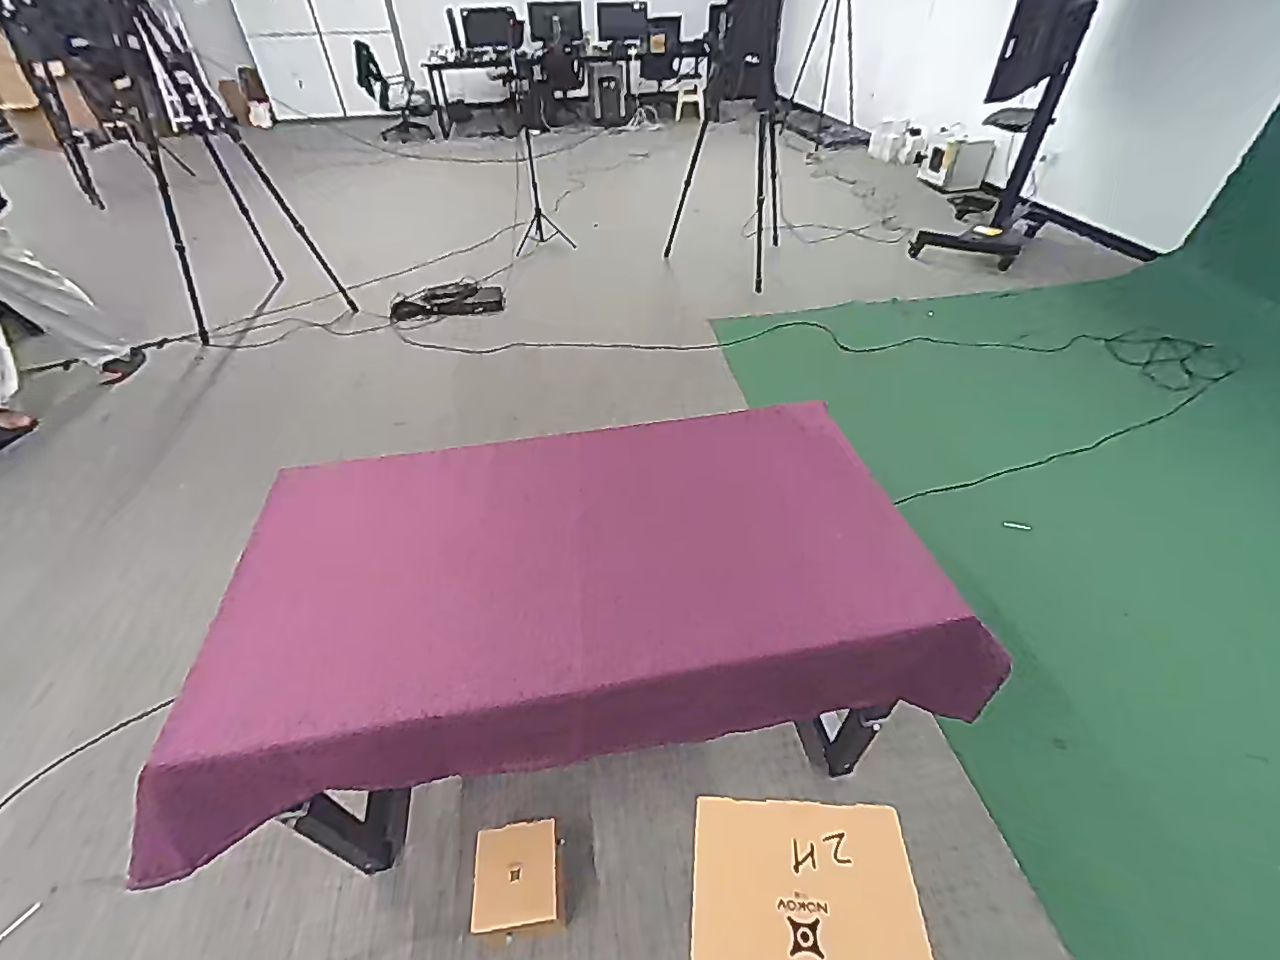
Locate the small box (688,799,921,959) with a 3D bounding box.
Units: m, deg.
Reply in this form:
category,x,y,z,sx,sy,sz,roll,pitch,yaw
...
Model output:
category,x,y,z,sx,sy,sz,roll,pitch,yaw
small box,0.132,0.398,0.445,0.168,0.176,0.179,-3,33,11
